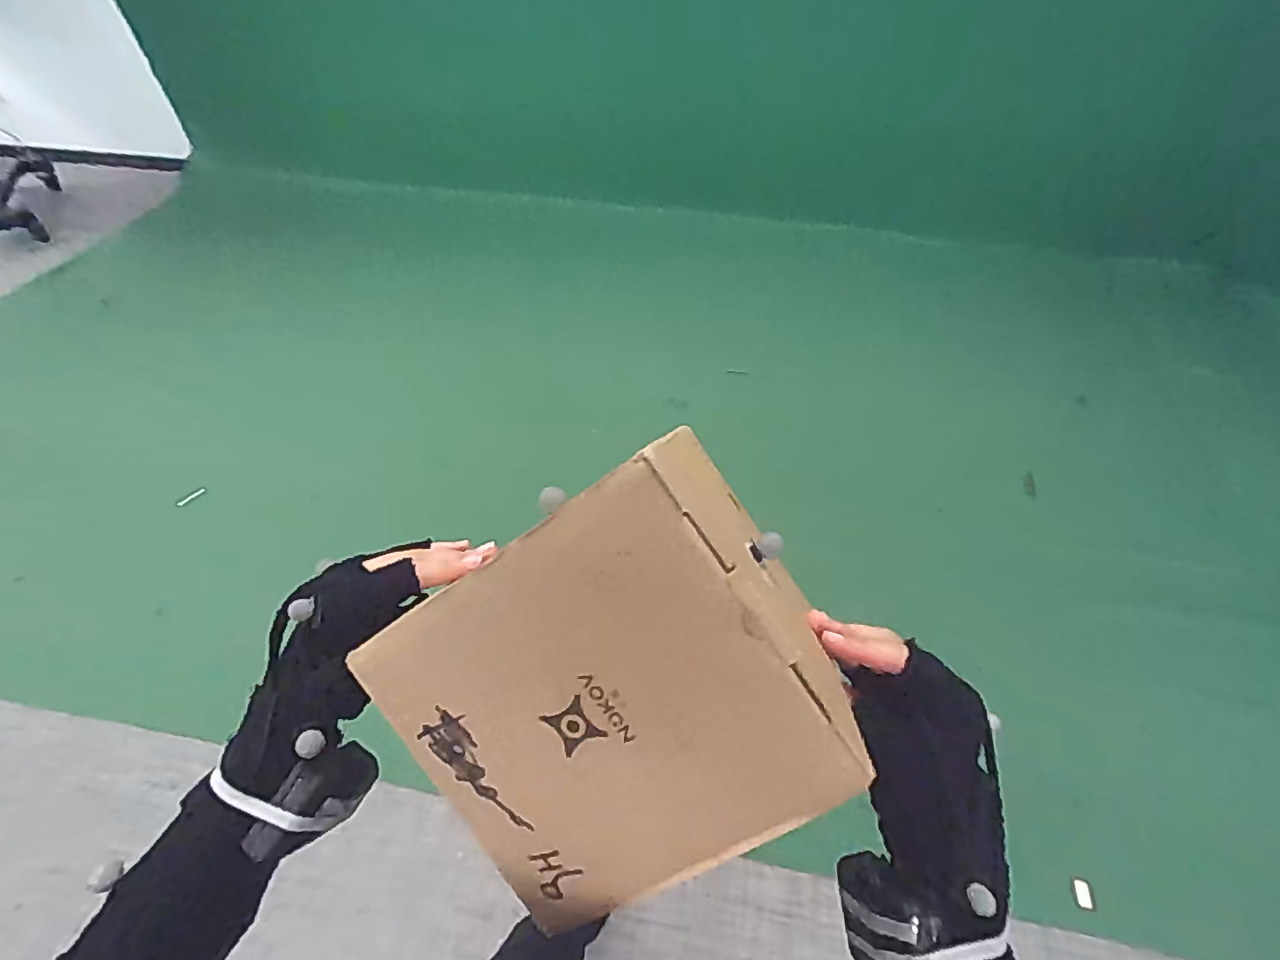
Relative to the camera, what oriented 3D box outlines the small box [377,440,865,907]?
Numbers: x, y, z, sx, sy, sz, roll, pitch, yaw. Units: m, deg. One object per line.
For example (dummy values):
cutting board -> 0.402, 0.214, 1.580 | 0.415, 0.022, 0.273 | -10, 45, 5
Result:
small box -> -0.003, 0.088, 0.327 | 0.179, 0.176, 0.168 | -34, 91, 12
